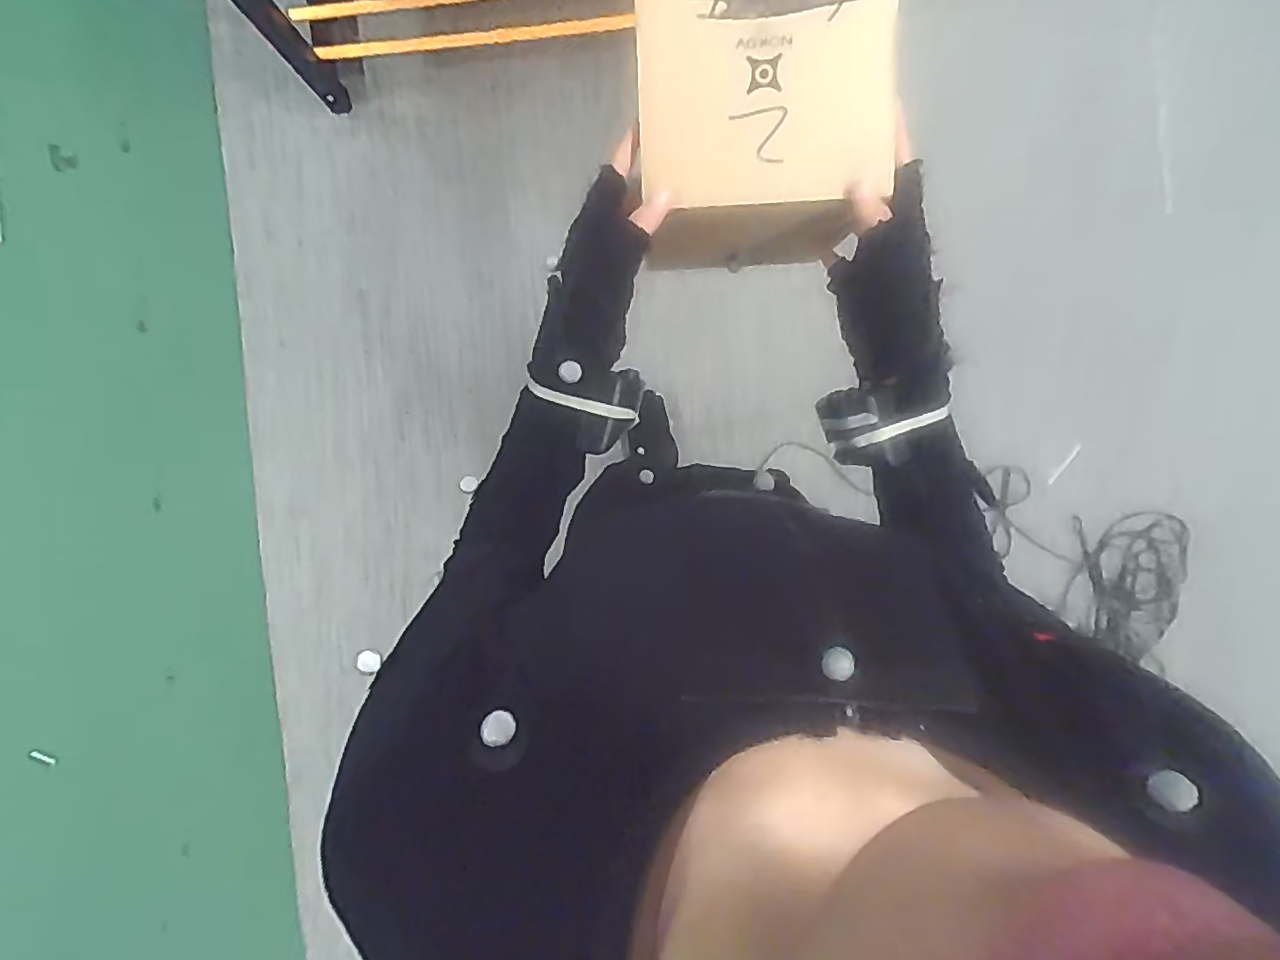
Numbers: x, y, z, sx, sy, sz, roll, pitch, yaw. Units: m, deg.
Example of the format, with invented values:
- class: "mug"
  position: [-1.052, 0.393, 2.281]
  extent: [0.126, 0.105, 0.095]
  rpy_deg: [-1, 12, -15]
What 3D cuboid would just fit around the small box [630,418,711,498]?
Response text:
- class: "small box"
  position: [0.073, -0.060, 1.427]
  extent: [0.168, 0.176, 0.179]
  rpy_deg: [11, 92, -9]
